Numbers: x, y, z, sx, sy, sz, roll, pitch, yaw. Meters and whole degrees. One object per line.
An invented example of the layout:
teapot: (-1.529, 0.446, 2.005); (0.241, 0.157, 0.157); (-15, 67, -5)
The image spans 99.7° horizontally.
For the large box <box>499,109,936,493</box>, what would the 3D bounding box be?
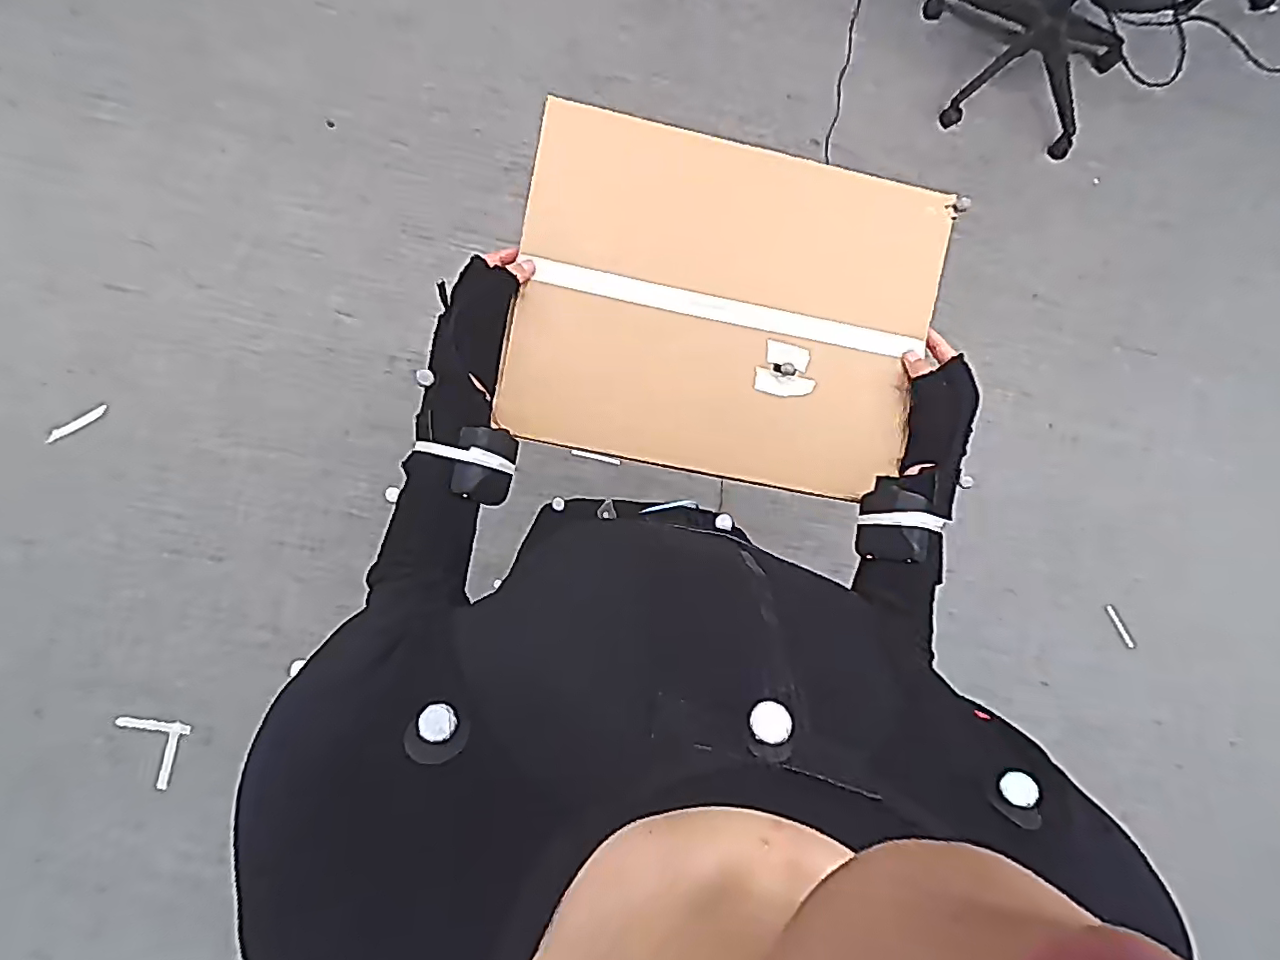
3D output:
large box: (0.067, -0.177, 0.682); (0.408, 0.320, 0.320); (11, 93, -6)
